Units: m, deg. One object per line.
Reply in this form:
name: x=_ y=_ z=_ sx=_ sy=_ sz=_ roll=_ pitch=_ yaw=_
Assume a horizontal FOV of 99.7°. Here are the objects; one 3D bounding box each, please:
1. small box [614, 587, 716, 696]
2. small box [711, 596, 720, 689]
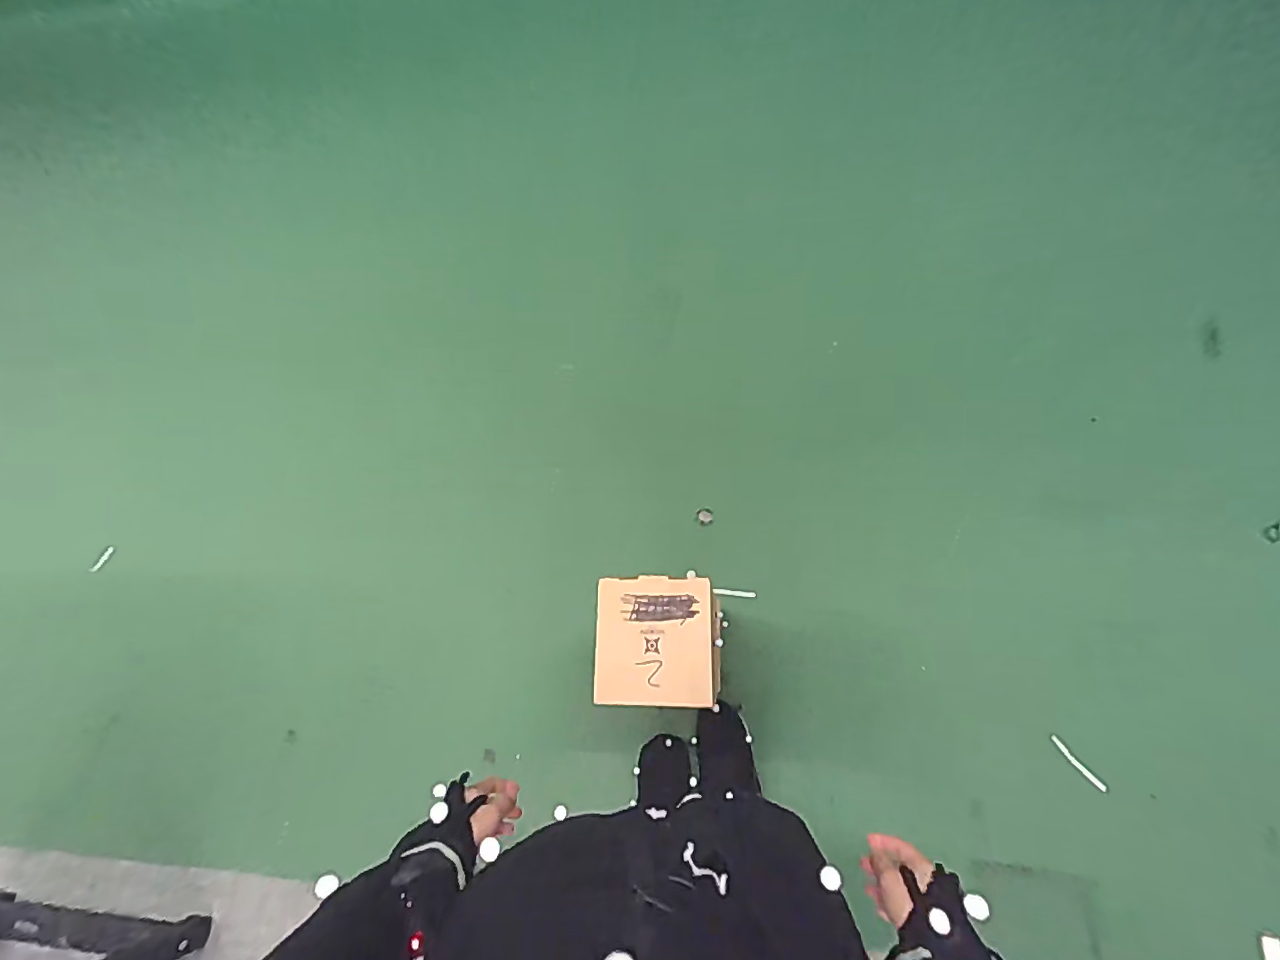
small box: x=0.053 y=0.295 z=0.990 sx=0.168 sy=0.176 sz=0.179 roll=-2 pitch=71 yaw=9
small box: x=0.084 y=0.342 z=1.142 sx=0.168 sy=0.176 sz=0.179 roll=-1 pitch=73 yaw=9
